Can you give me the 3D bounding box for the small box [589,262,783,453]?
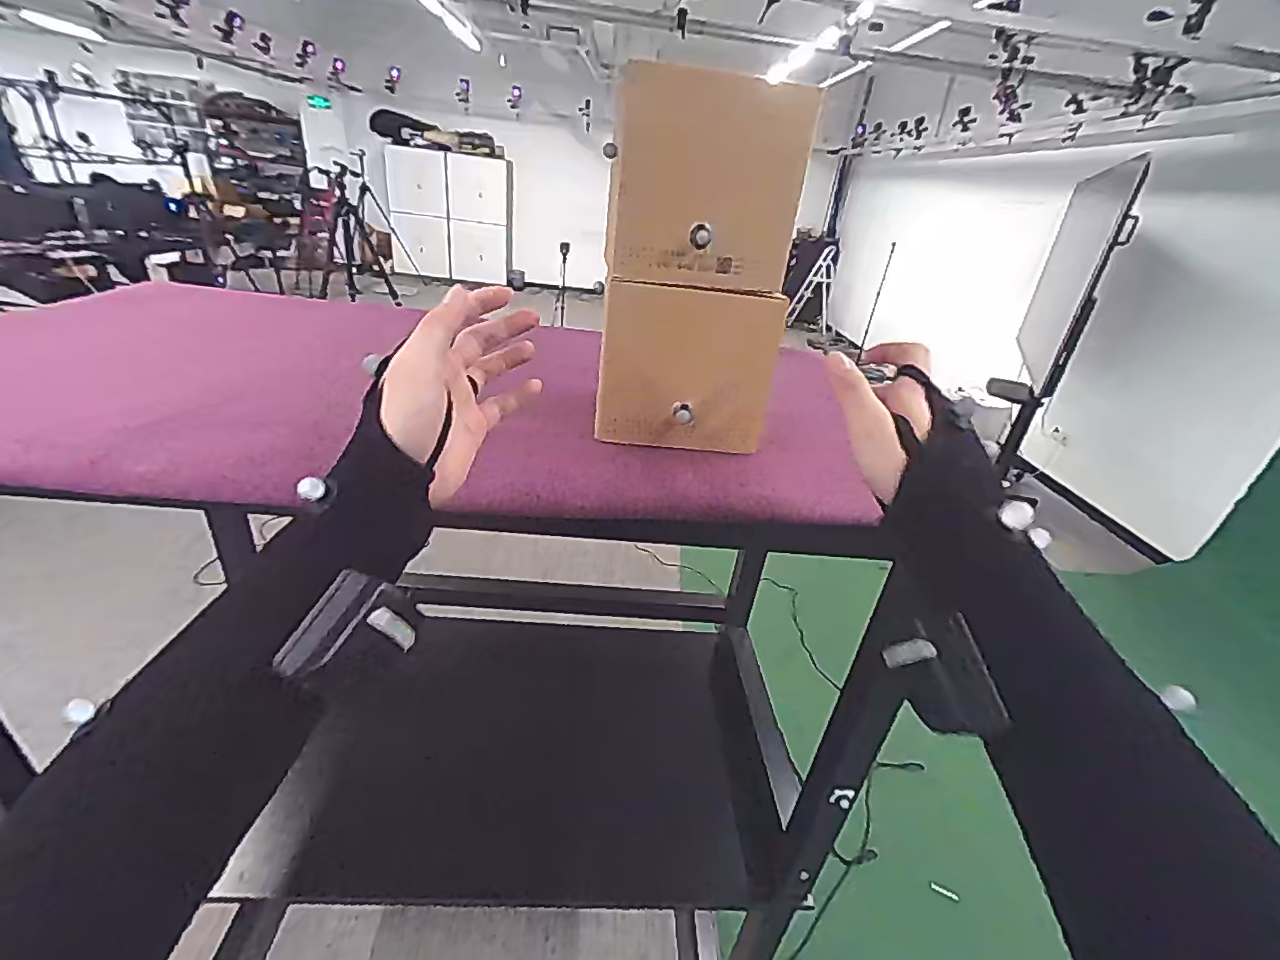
[{"bbox_3d":[0.040,-0.140,0.614,0.179,0.176,0.168,5,26,-5],"label":"small box"}]
